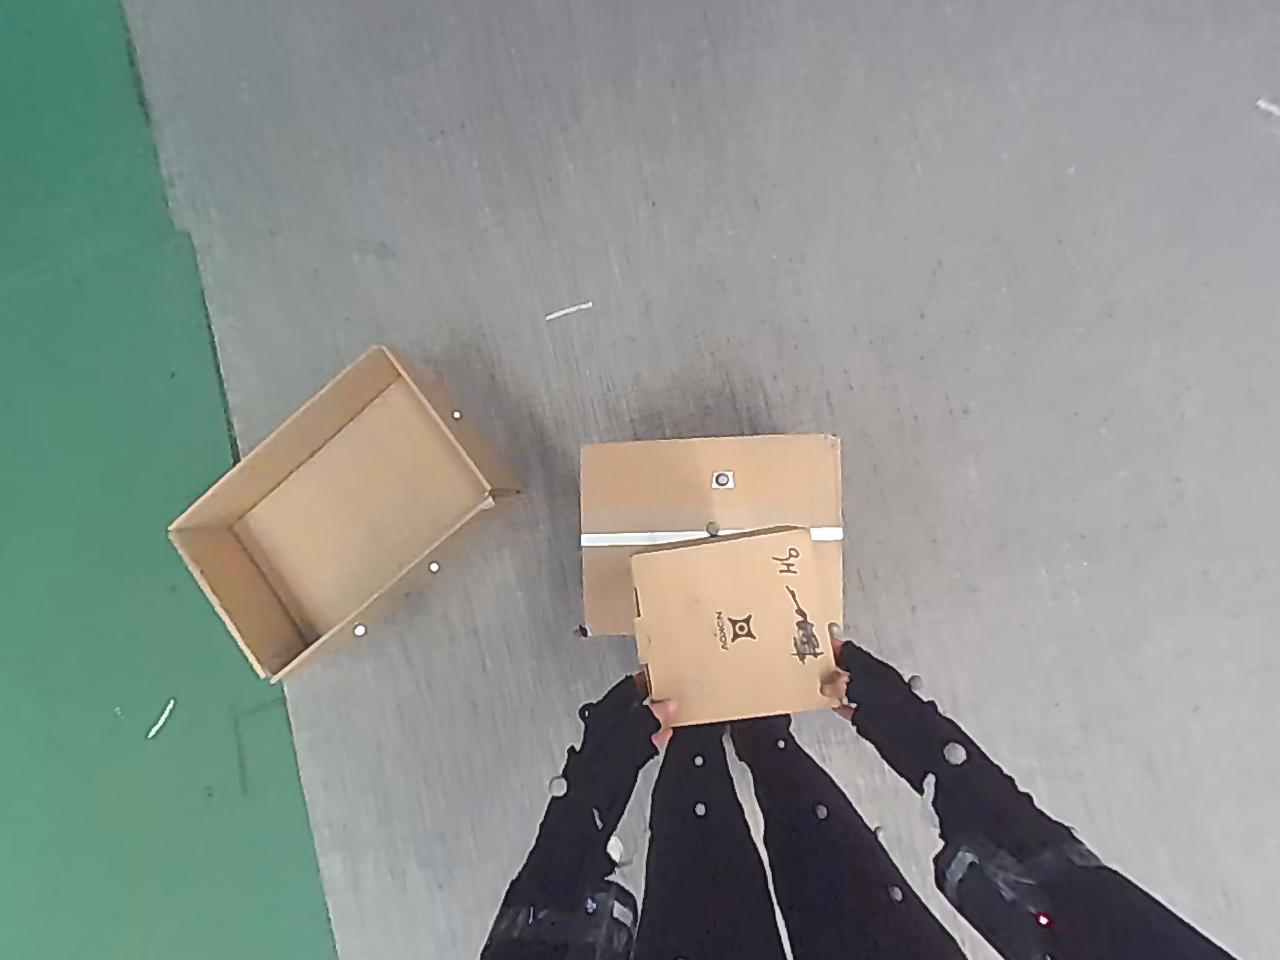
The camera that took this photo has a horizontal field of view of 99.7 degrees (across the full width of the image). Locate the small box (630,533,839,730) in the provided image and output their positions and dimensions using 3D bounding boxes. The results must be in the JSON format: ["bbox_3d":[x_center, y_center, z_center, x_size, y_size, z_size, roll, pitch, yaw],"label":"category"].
[{"bbox_3d":[0.097,0.151,0.588,0.179,0.176,0.168,-10,85,7],"label":"small box"}]
